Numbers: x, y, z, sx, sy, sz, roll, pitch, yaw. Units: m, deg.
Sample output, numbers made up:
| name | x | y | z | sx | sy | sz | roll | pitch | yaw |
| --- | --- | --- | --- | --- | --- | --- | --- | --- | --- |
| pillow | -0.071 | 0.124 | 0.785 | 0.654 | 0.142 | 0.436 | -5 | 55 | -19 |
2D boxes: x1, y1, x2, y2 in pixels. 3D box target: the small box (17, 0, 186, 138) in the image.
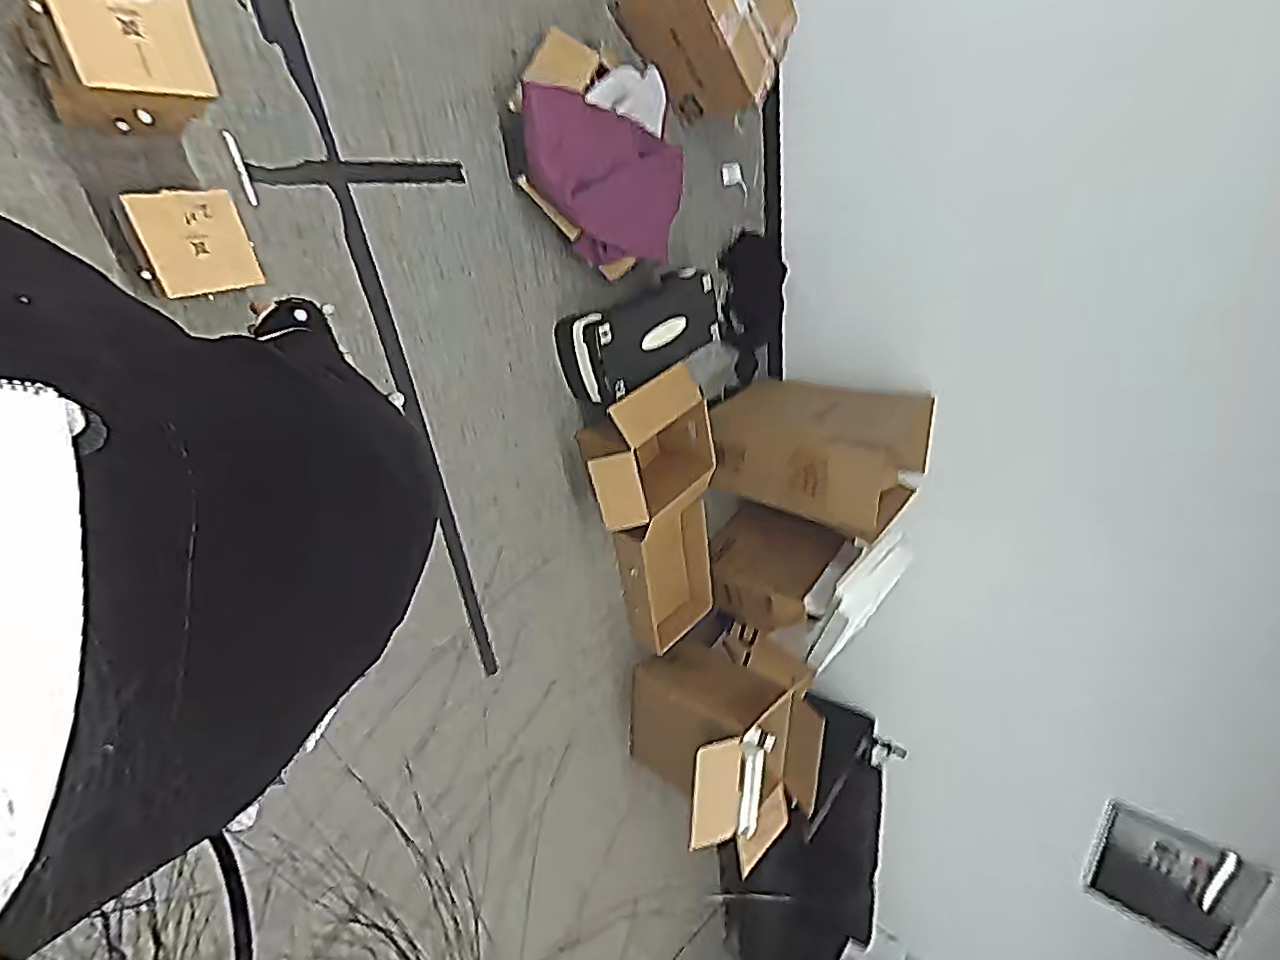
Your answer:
| name | x | y | z | sx | sy | sz | roll | pitch | yaw |
| --- | --- | --- | --- | --- | --- | --- | --- | --- | --- |
| small box | -0.920 | -0.710 | 0.941 | 0.179 | 0.176 | 0.168 | -26 | 120 | -39 |

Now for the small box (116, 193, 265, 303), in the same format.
| name | x | y | z | sx | sy | sz | roll | pitch | yaw |
| --- | --- | --- | --- | --- | --- | --- | --- | --- | --- |
| small box | -0.882 | -0.455 | 1.065 | 0.168 | 0.176 | 0.179 | -30 | 123 | -38 |

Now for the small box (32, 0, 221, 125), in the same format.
| name | x | y | z | sx | sy | sz | roll | pitch | yaw |
| --- | --- | --- | --- | --- | --- | --- | --- | --- | --- |
| small box | -0.796 | -0.676 | 0.837 | 0.168 | 0.176 | 0.179 | -27 | 122 | -40 |
